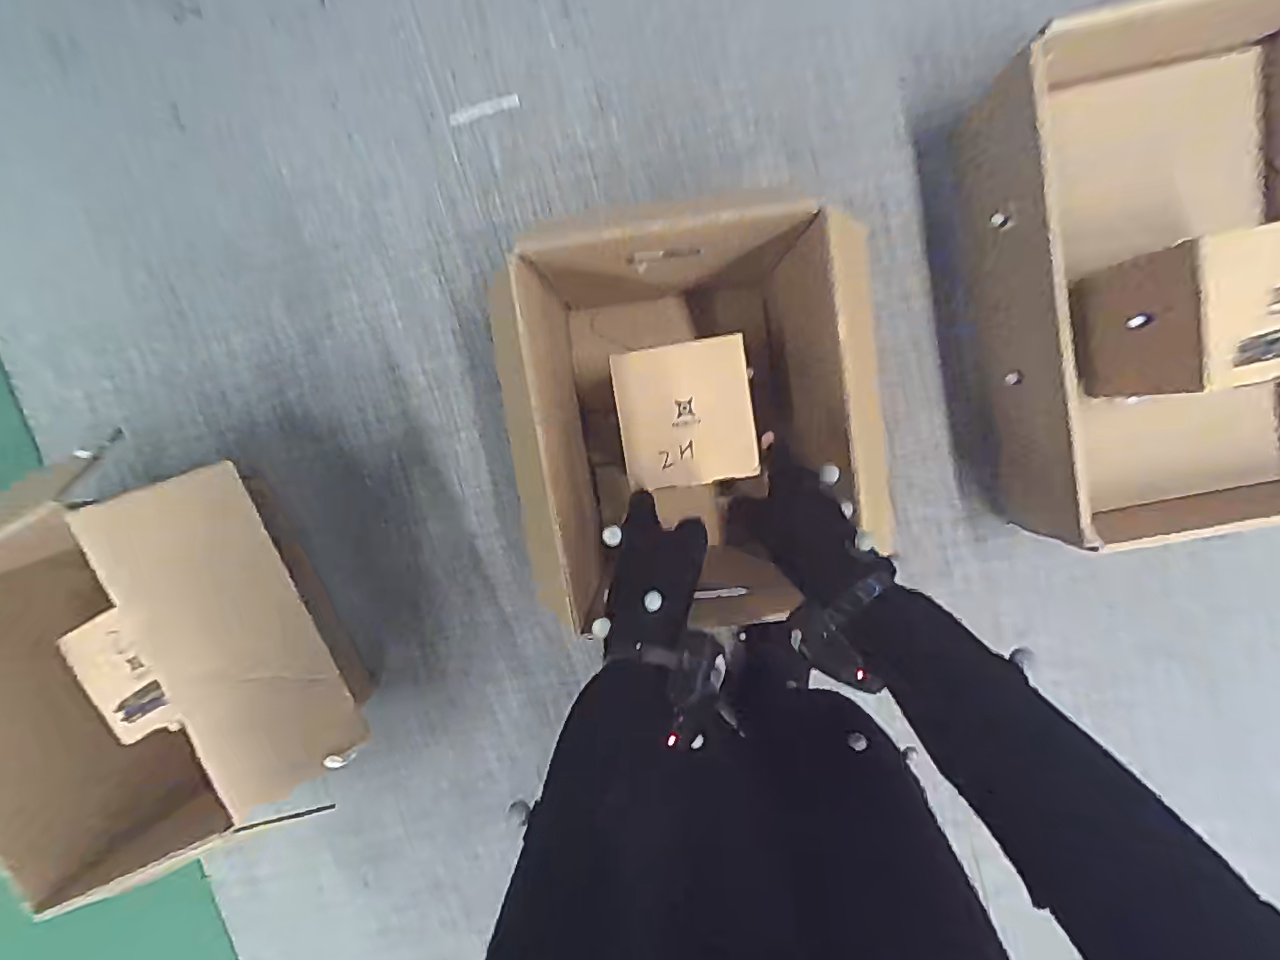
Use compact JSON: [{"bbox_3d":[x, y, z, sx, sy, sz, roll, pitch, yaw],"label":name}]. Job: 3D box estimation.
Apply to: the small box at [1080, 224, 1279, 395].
[{"bbox_3d":[0.707,-0.204,0.686,0.168,0.176,0.179,-9,95,3],"label":"small box"}]
